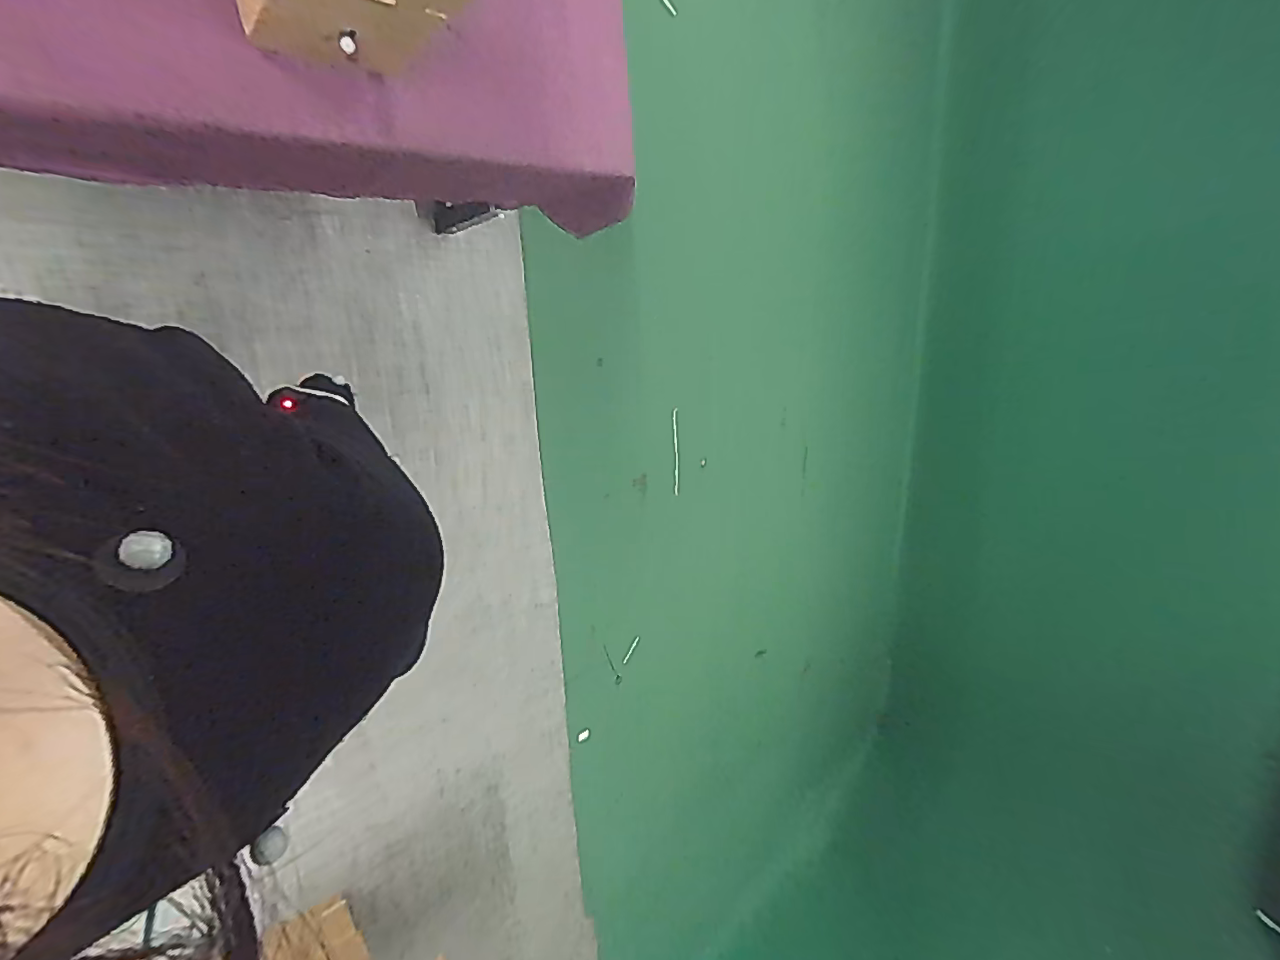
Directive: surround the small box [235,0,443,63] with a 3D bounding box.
[{"bbox_3d":[-0.333,-0.579,0.568,0.168,0.176,0.179,-20,114,-40],"label":"small box"}]
